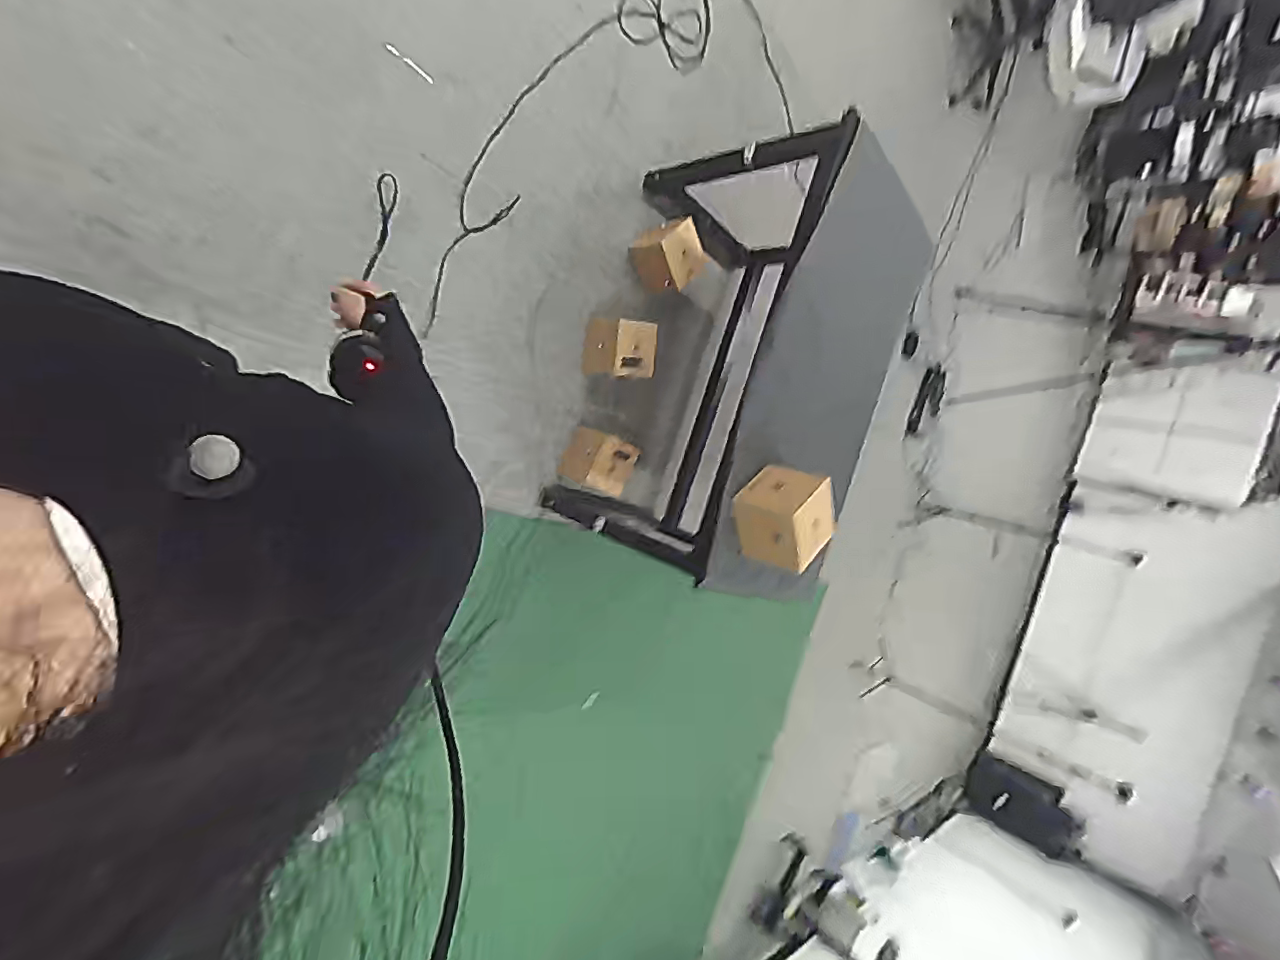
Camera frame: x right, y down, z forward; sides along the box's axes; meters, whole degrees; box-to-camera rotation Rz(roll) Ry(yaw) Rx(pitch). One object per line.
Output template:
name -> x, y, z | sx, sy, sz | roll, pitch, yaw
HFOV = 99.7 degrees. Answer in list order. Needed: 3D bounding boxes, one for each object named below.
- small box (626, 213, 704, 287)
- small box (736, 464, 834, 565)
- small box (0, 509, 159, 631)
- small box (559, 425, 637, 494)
small box -> 0.082, -0.774, 1.838 | 0.168, 0.176, 0.179 | -48, 131, -23
small box -> 0.351, 0.074, 1.314 | 0.168, 0.176, 0.179 | -38, 126, -33
small box -> -1.063, 0.167, 1.026 | 0.179, 0.176, 0.168 | 29, 81, -43
small box -> -0.146, -0.073, 1.831 | 0.168, 0.176, 0.179 | 25, 86, -45
